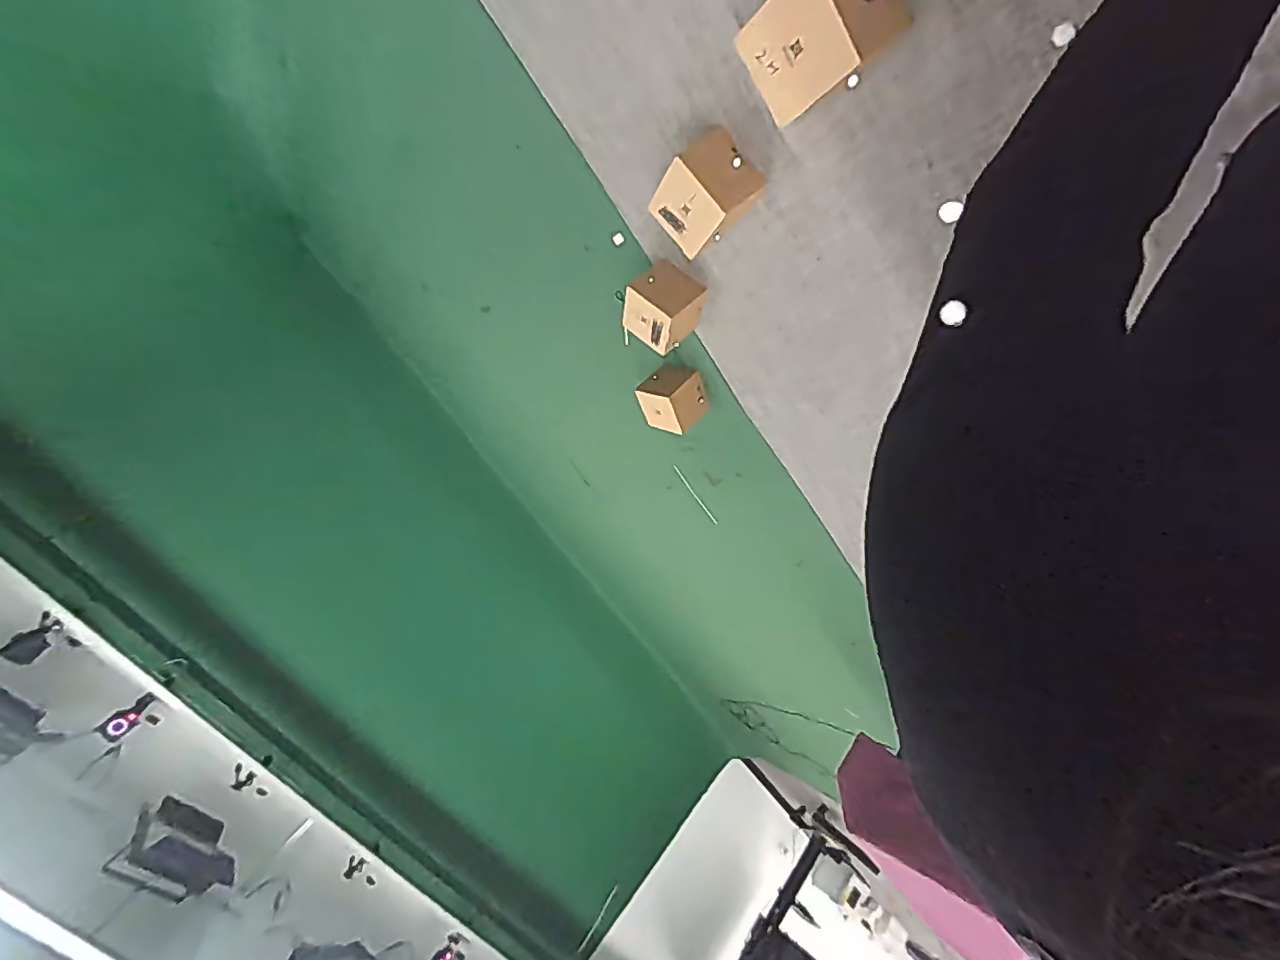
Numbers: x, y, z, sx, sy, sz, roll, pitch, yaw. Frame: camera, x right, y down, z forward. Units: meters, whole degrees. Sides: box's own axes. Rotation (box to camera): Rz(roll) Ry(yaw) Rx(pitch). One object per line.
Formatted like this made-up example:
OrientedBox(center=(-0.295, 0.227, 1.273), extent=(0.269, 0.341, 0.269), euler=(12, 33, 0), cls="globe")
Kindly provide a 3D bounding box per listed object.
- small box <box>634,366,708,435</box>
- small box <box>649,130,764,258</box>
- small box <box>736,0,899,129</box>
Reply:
OrientedBox(center=(0.115, -0.292, 1.935), extent=(0.179, 0.176, 0.168), euler=(22, 147, 43), cls="small box")
OrientedBox(center=(0.157, -0.667, 1.267), extent=(0.168, 0.176, 0.179), euler=(48, 155, -6), cls="small box")
OrientedBox(center=(0.304, -0.745, 0.906), extent=(0.168, 0.176, 0.179), euler=(54, 155, -17), cls="small box")
